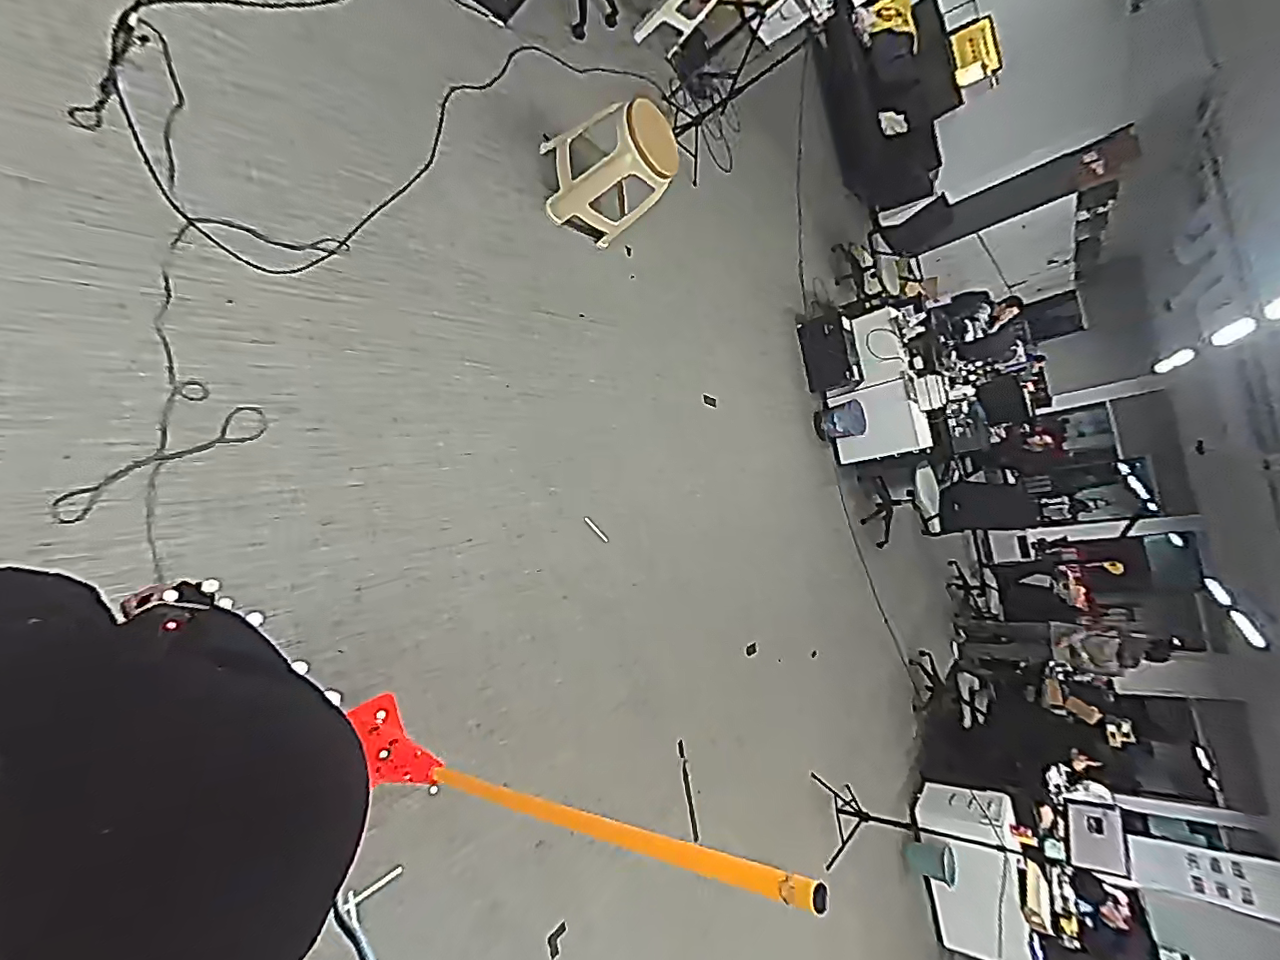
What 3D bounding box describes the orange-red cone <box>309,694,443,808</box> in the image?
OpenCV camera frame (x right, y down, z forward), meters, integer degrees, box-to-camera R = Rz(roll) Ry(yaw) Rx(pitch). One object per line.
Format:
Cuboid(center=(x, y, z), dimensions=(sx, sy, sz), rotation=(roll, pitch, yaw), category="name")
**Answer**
Cuboid(center=(-0.541, 0.613, 1.184), dimensions=(0.199, 0.360, 0.198), rotation=(-16, 92, -50), category="orange-red cone")
